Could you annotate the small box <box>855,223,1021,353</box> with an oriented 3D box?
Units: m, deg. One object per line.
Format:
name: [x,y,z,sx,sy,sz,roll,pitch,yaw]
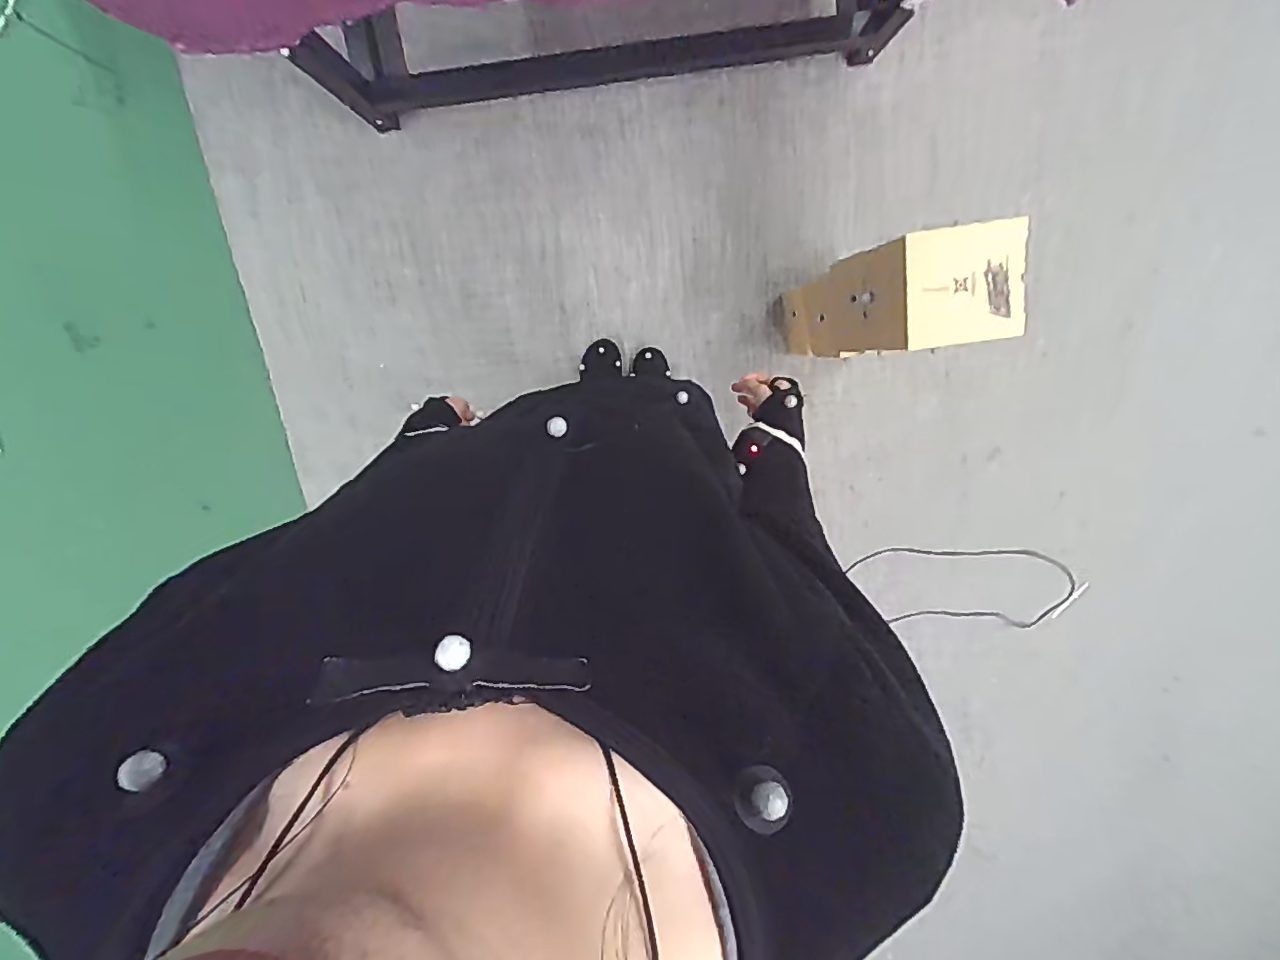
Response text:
small box: [0.464,-0.298,0.865,0.179,0.176,0.168,-7,104,1]

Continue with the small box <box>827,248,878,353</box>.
small box: [0.462,-0.336,1.025,0.168,0.176,0.179,-5,104,1]
